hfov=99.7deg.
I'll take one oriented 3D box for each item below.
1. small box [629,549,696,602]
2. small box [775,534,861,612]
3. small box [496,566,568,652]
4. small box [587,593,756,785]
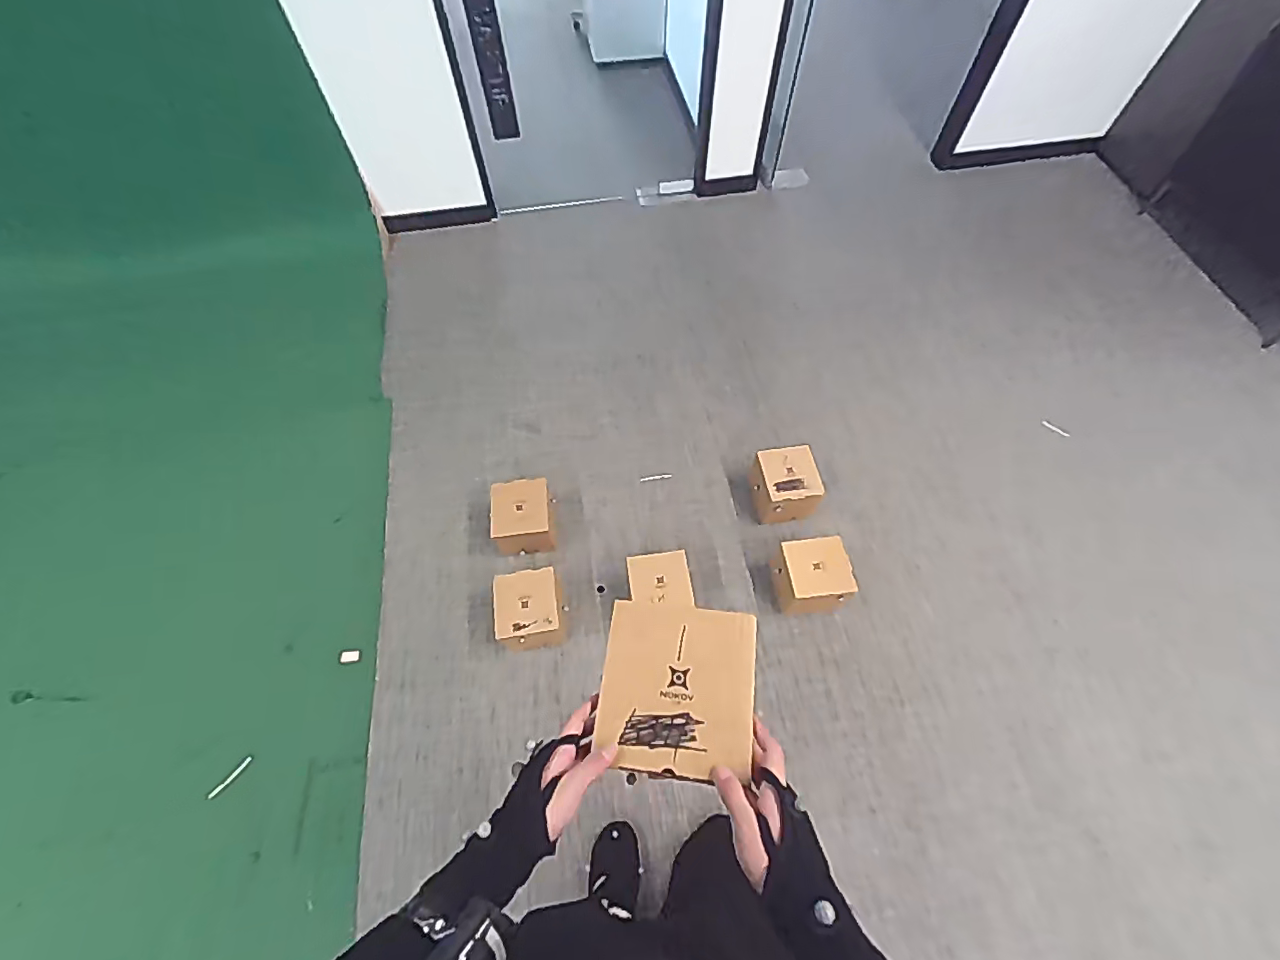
[{"bbox_3d":[0.059,0.312,1.507,0.168,0.176,0.179,-7,61,-3],"label":"small box"},{"bbox_3d":[0.491,0.268,1.530,0.179,0.176,0.168,-6,61,-4],"label":"small box"},{"bbox_3d":[-0.296,0.357,1.486,0.168,0.176,0.179,-8,60,-4],"label":"small box"},{"bbox_3d":[0.045,0.251,0.641,0.168,0.176,0.179,4,61,8],"label":"small box"}]
